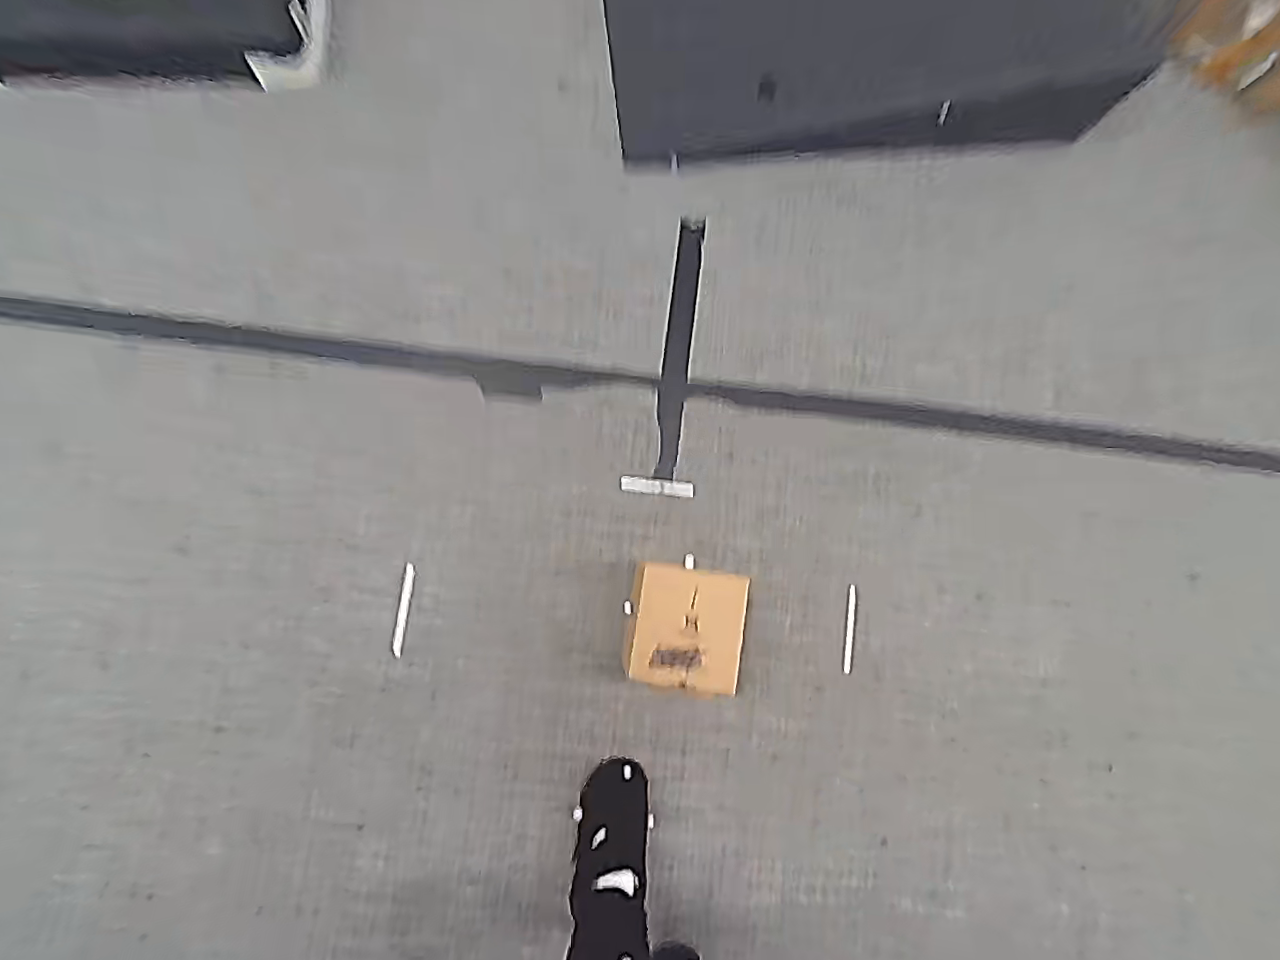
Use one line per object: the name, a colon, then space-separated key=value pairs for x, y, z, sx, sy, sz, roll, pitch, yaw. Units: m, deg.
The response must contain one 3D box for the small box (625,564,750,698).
small box: x=0.069 y=0.238 z=0.890 sx=0.168 sy=0.176 sz=0.179 roll=10 pitch=81 yaw=-4
